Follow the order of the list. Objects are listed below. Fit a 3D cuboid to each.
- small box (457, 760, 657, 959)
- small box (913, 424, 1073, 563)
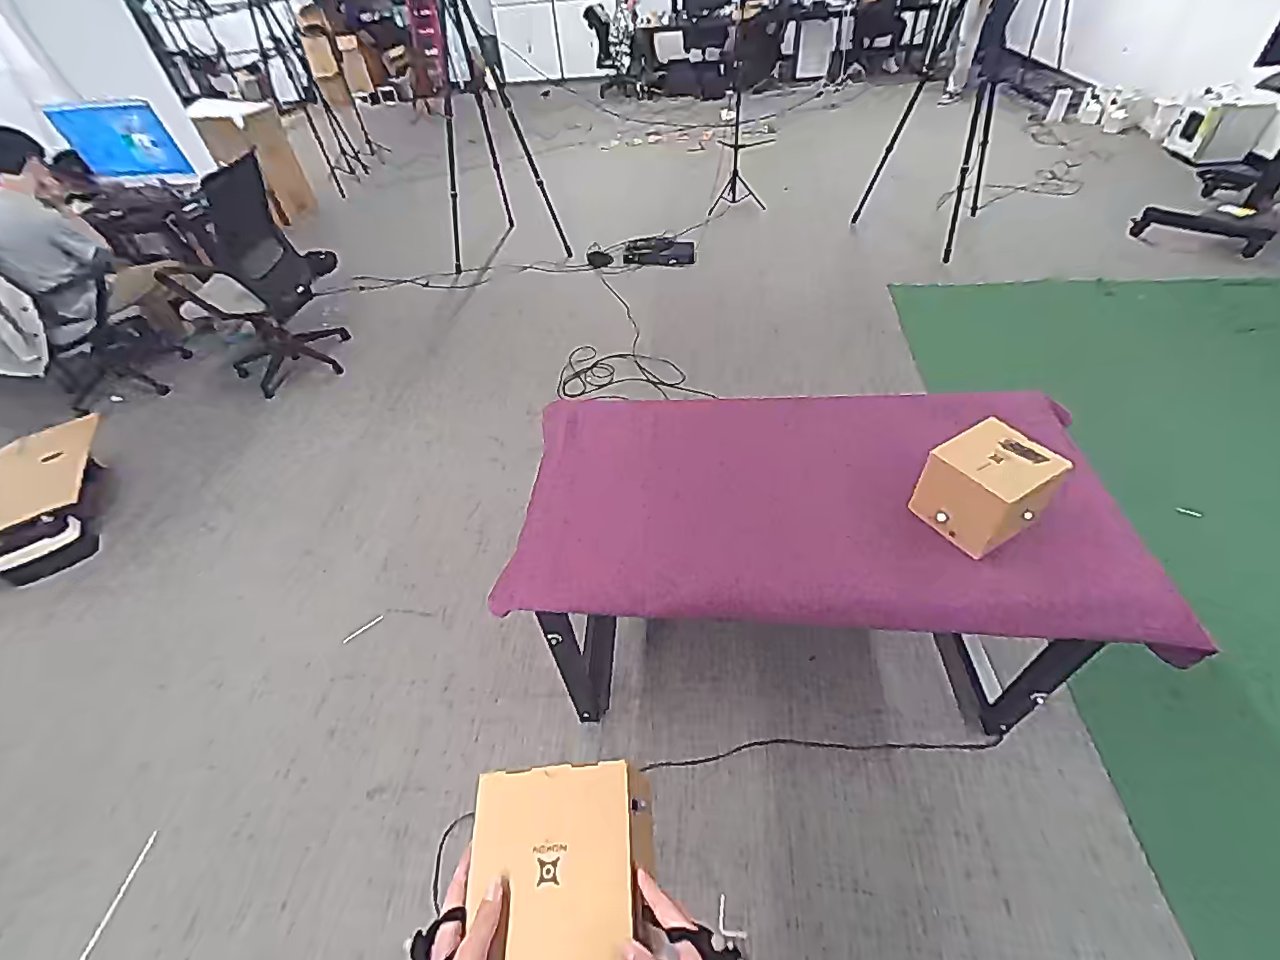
[{"bbox_3d":[-0.076,0.419,0.586,0.168,0.176,0.179,-8,52,6],"label":"small box"},{"bbox_3d":[0.665,0.027,1.043,0.179,0.176,0.168,-25,48,-17],"label":"small box"}]
